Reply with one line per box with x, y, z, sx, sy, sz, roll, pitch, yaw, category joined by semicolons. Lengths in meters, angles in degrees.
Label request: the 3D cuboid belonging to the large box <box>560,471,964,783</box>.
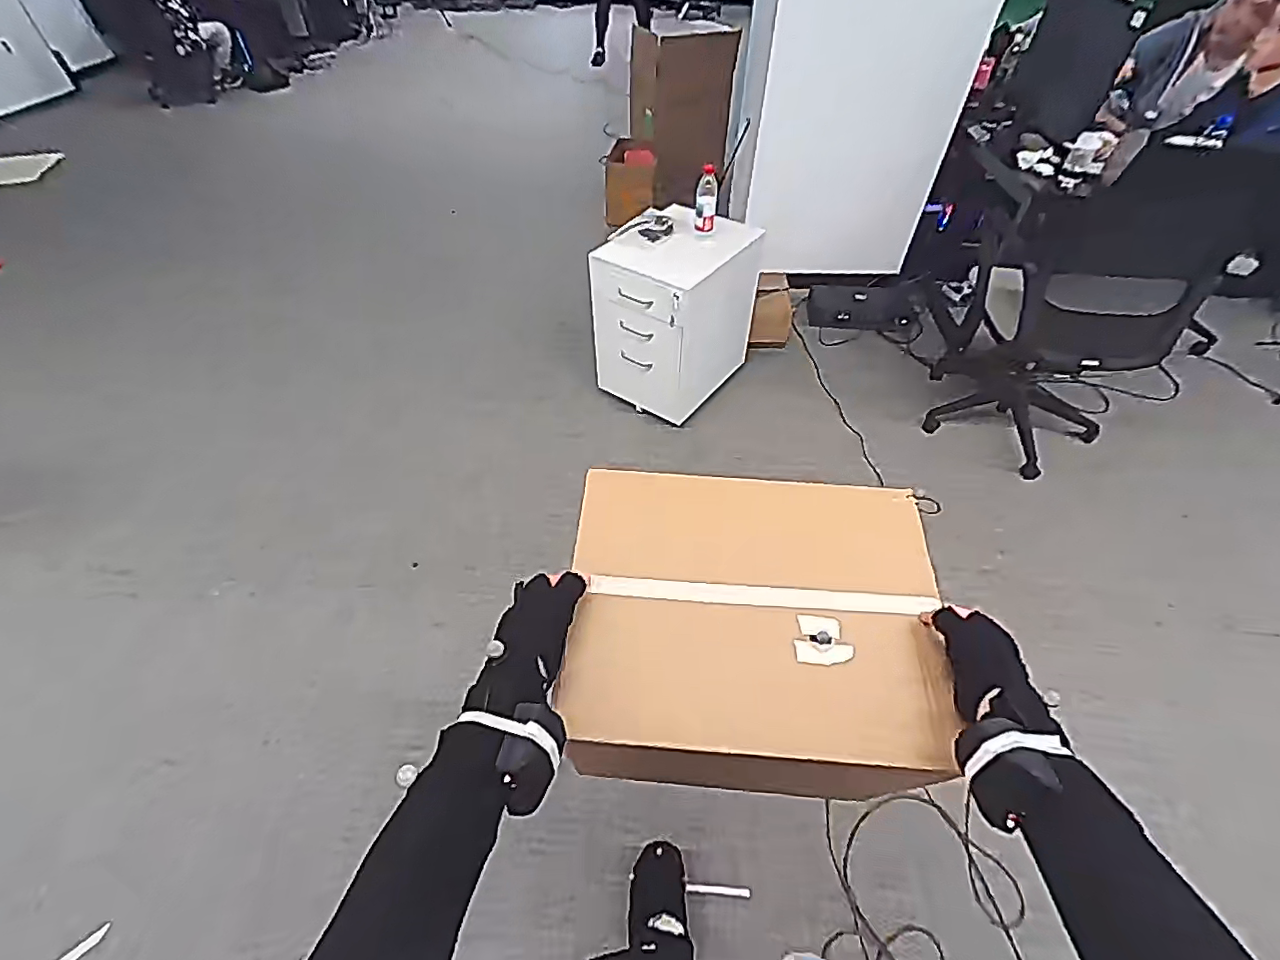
0.124;0.208;0.731;0.408;0.320;0.320;4;56;2;large box
